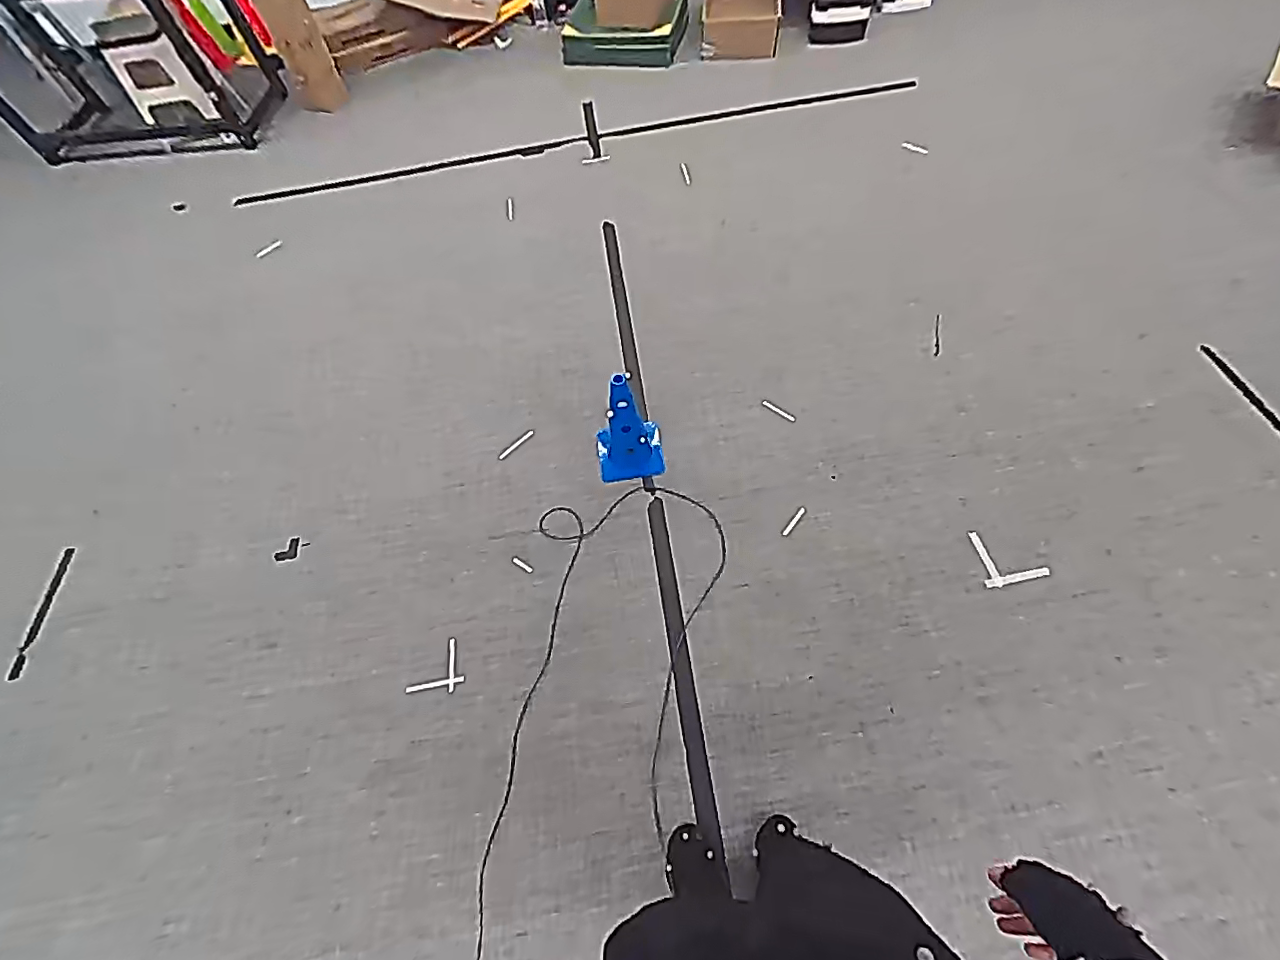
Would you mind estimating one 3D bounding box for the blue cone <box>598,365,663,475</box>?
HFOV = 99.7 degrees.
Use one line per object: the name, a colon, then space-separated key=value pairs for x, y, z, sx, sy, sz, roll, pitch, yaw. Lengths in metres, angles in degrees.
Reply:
blue cone: x=-0.045 y=-0.184 z=1.549 sx=0.193 sy=0.380 sz=0.192 roll=-11 pitch=61 yaw=0
